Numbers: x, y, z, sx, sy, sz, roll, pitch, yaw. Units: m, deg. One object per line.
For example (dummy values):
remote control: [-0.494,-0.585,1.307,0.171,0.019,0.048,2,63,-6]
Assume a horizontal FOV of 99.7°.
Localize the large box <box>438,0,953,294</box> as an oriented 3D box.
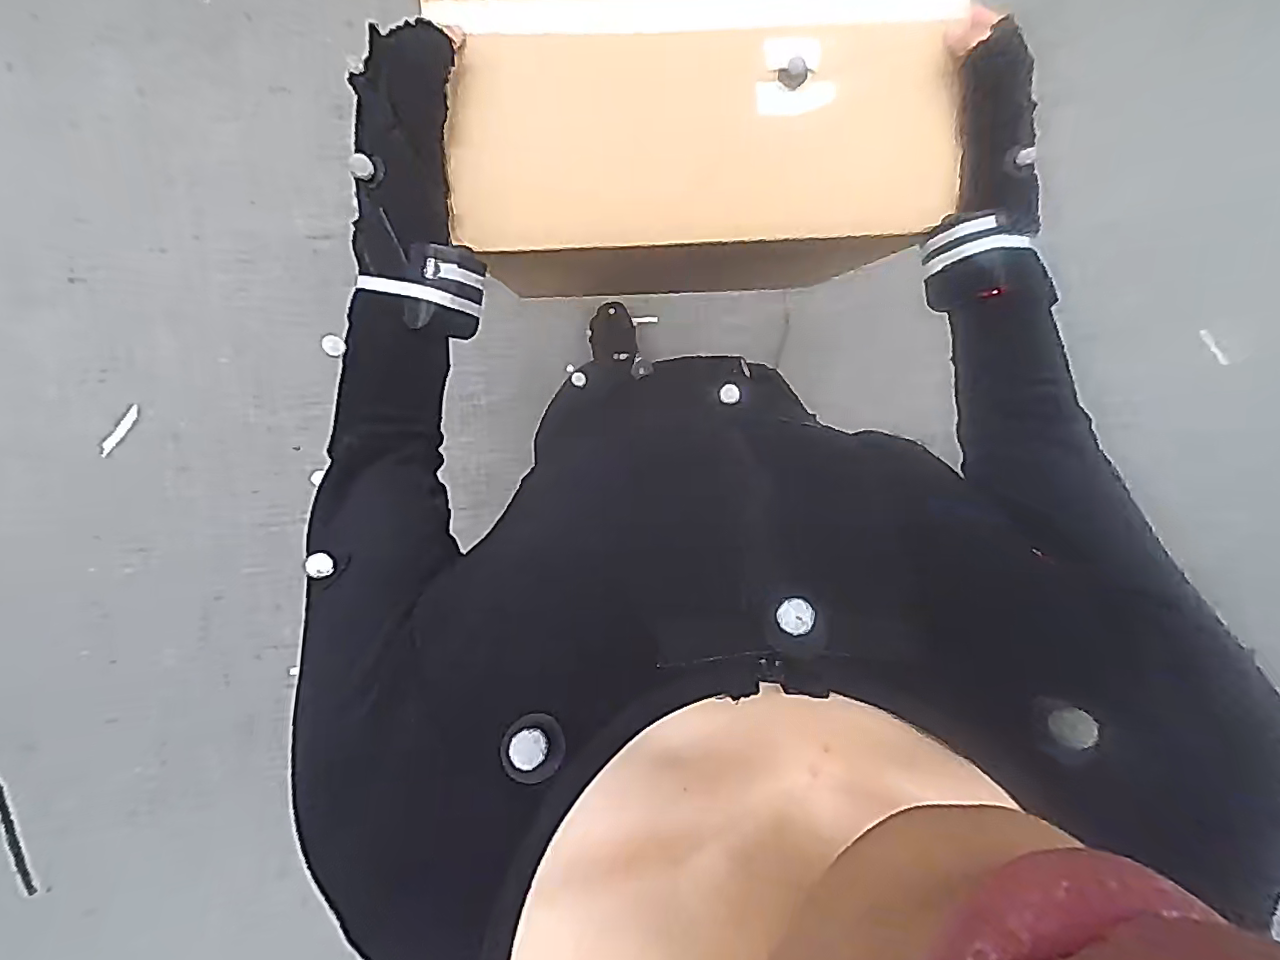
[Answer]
large box: [0.036,-0.384,0.558,0.408,0.320,0.320,-4,102,-3]
